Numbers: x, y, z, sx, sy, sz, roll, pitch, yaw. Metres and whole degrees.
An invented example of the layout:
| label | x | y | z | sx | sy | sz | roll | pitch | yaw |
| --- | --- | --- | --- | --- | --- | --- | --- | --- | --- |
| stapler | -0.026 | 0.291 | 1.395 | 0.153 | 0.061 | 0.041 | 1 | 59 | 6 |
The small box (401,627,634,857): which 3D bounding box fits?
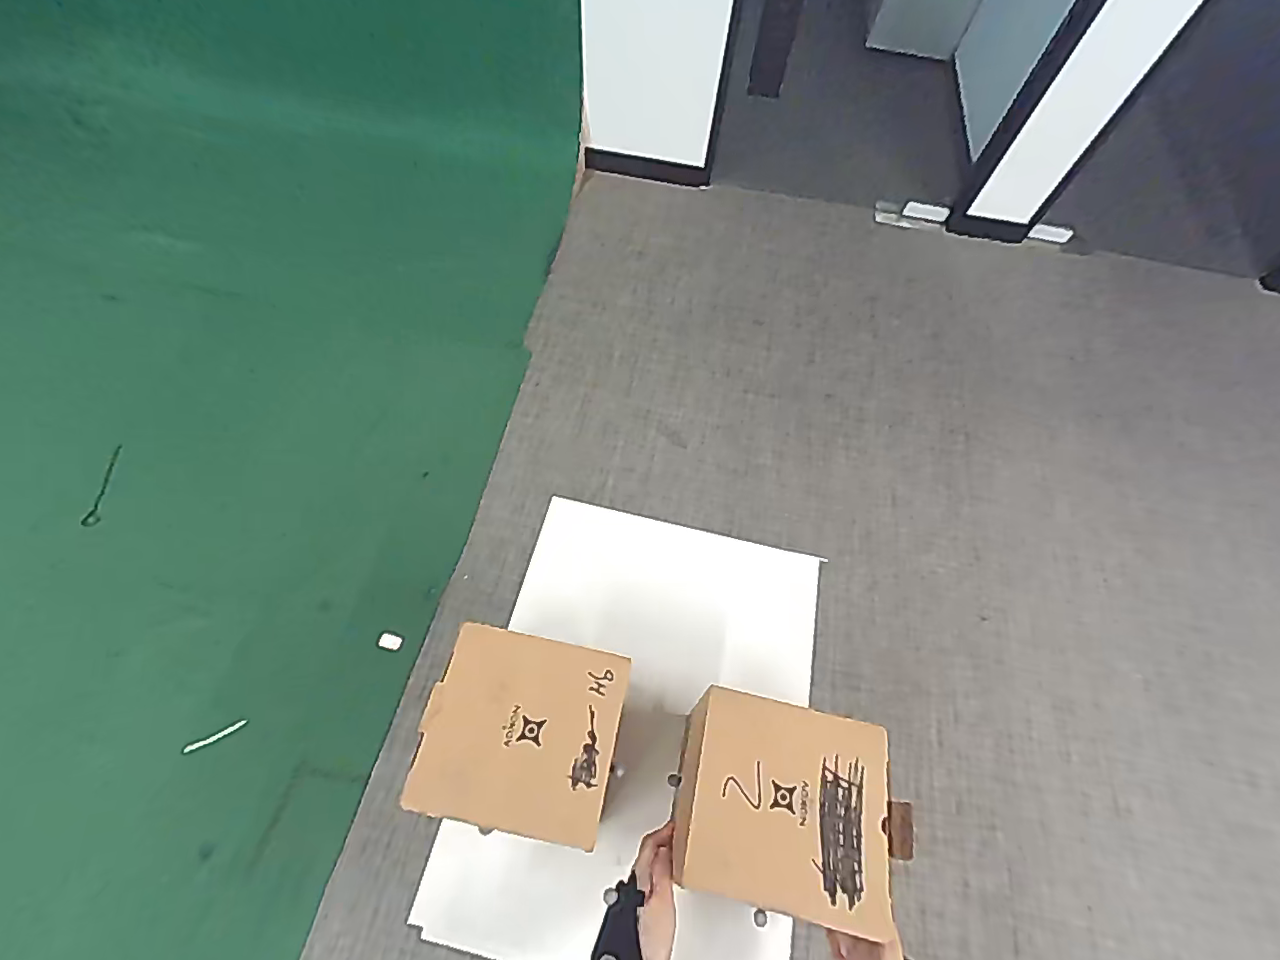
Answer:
| label | x | y | z | sx | sy | sz | roll | pitch | yaw |
| --- | --- | --- | --- | --- | --- | --- | --- | --- | --- |
| small box | -0.112 | 0.272 | 0.571 | 0.179 | 0.176 | 0.168 | 13 | 62 | 2 |
